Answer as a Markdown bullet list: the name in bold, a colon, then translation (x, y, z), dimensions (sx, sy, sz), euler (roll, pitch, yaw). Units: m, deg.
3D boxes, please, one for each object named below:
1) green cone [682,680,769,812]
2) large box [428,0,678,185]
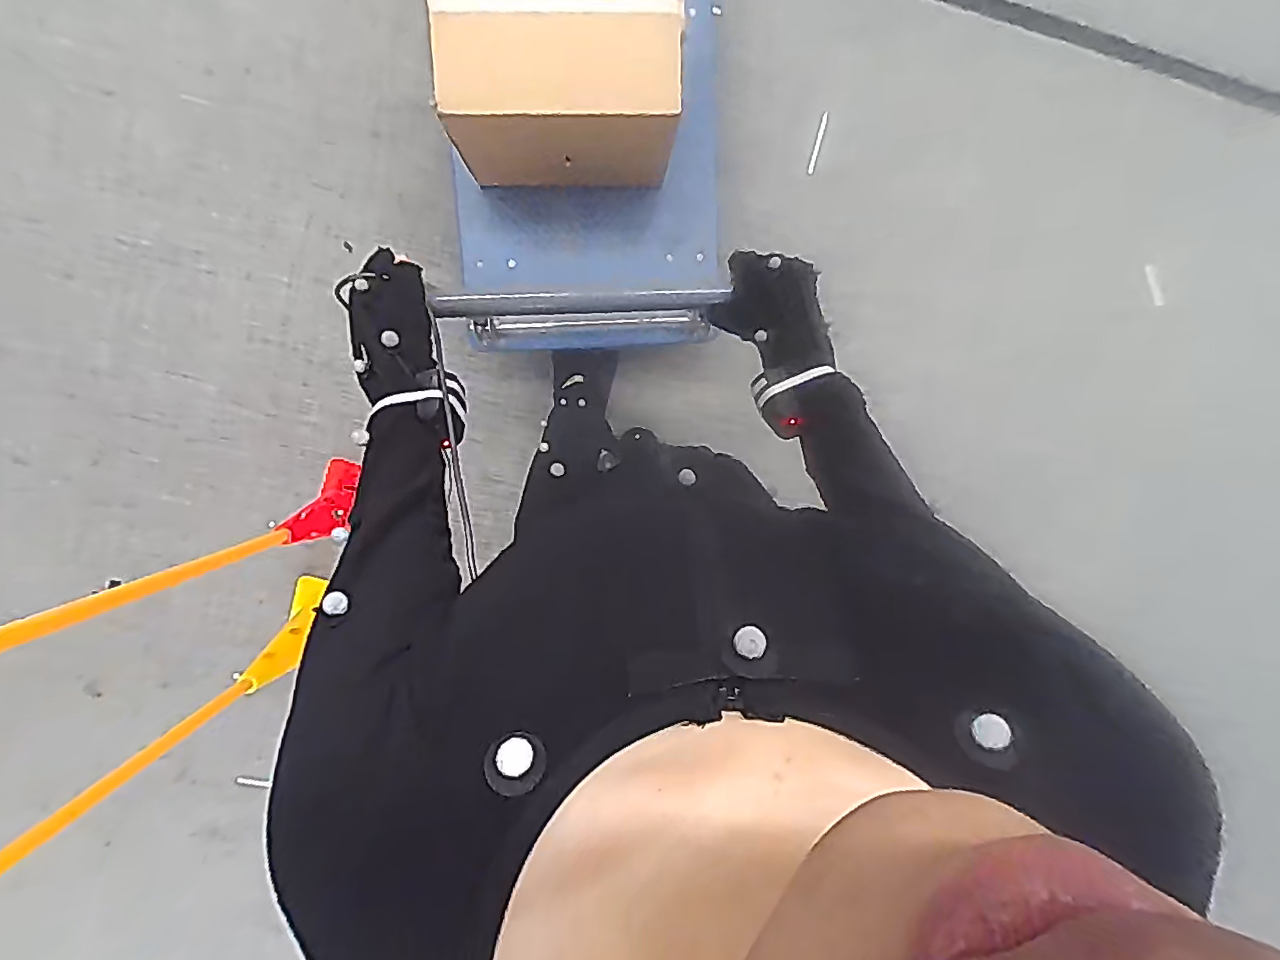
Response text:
- **green cone**: translation (0.253, 0.714, 1.404), dimensions (0.202, 0.368, 0.200), euler (17, 97, -7)
- **large box**: translation (-0.146, -0.776, 1.018), dimensions (0.408, 0.320, 0.320), euler (-2, 99, -3)
